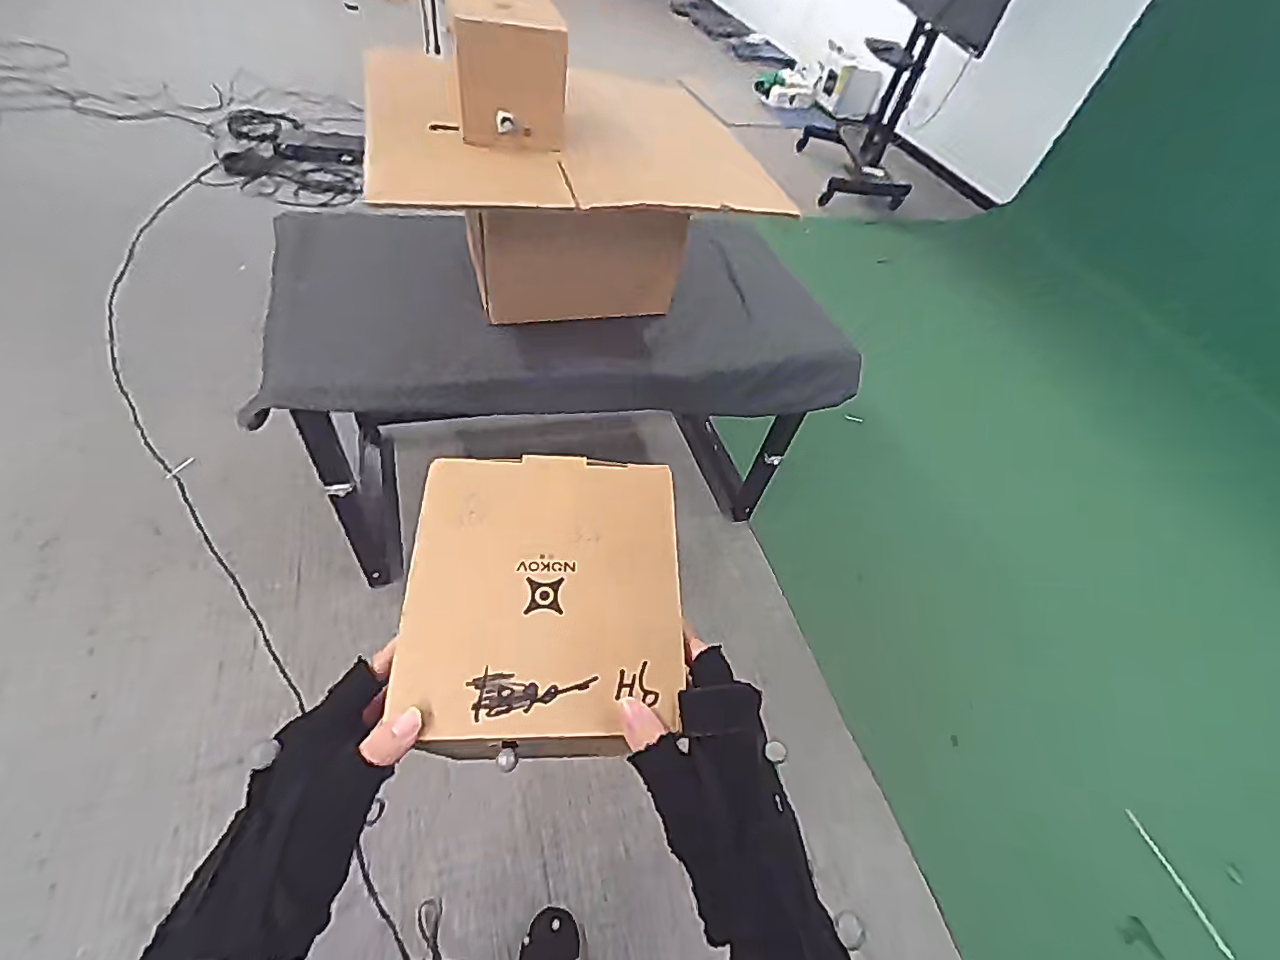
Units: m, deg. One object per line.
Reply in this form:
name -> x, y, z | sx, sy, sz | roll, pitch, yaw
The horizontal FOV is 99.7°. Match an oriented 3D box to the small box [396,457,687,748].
small box -> -0.062, 0.101, 0.413 | 0.168, 0.176, 0.179 | 1, 60, -5

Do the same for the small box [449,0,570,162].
small box -> -0.218, -0.657, 0.895 | 0.168, 0.176, 0.179 | -8, 55, -17
